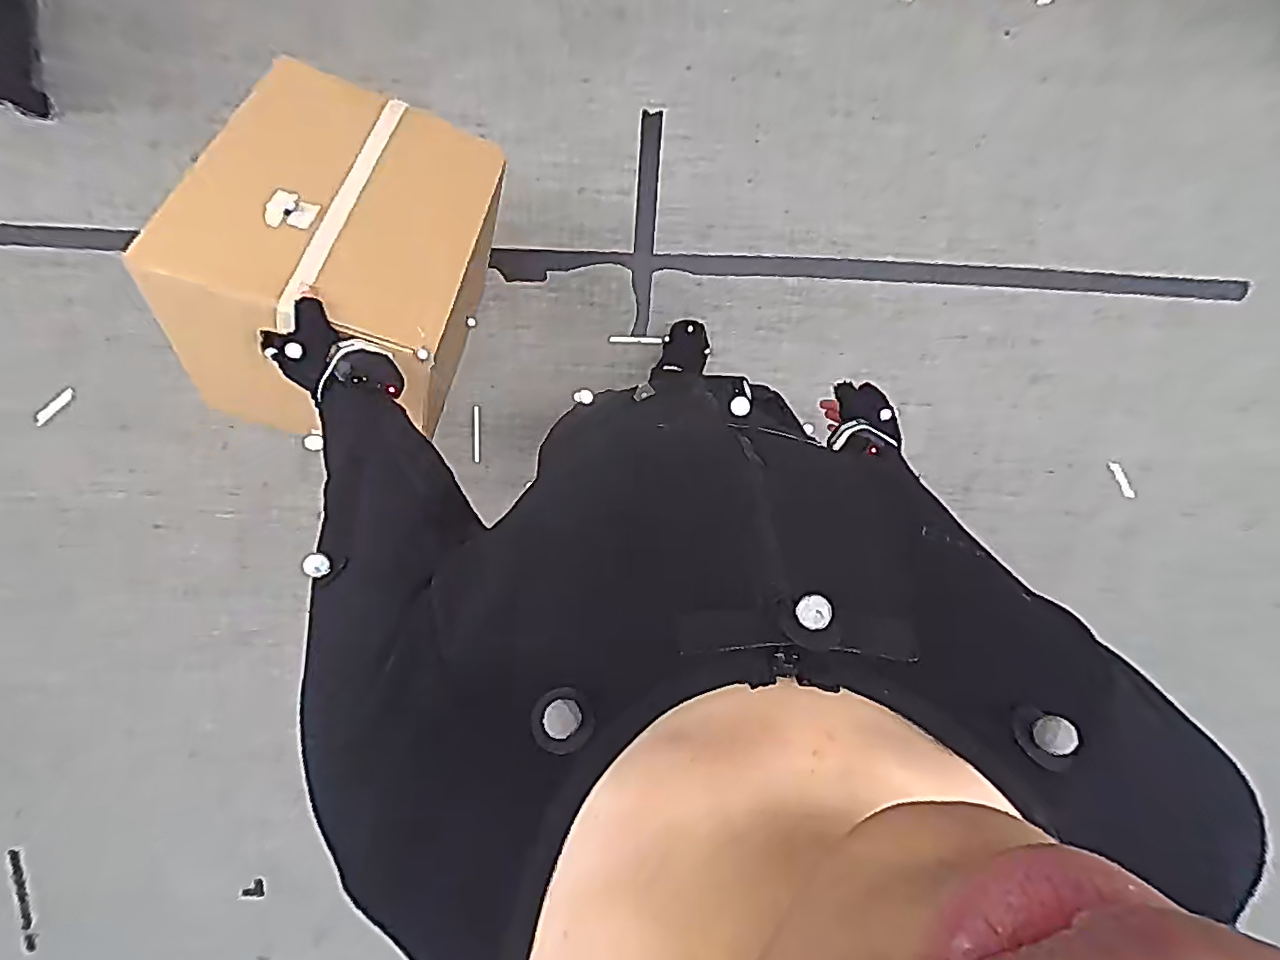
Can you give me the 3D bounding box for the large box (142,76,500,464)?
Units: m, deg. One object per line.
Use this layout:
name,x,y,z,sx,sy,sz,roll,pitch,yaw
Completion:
large box,-0.430,-0.294,0.833,0.320,0.320,0.408,15,62,-15
